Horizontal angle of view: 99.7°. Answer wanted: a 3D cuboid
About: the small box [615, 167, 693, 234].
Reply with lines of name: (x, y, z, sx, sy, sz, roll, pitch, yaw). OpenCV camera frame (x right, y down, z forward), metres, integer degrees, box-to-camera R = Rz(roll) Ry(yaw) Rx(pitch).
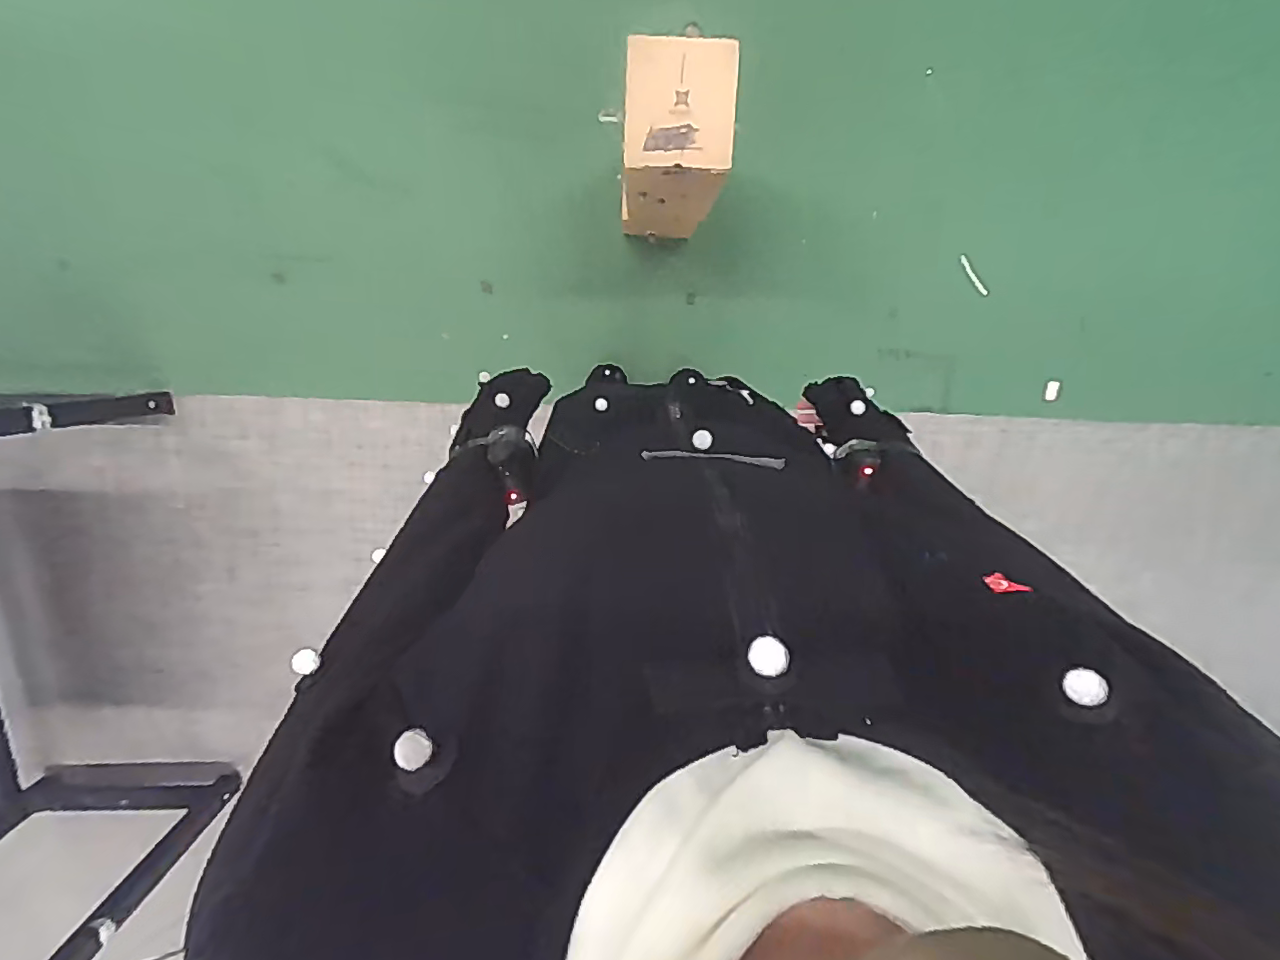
small box: (0.037, -0.652, 1.174, 0.168, 0.176, 0.179, 5, 104, -1)

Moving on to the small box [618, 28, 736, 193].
small box: (0.052, -0.580, 0.873, 0.168, 0.176, 0.179, 2, 103, -2)

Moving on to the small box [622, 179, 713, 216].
small box: (0.051, -0.621, 1.033, 0.168, 0.176, 0.179, 2, 103, -2)
